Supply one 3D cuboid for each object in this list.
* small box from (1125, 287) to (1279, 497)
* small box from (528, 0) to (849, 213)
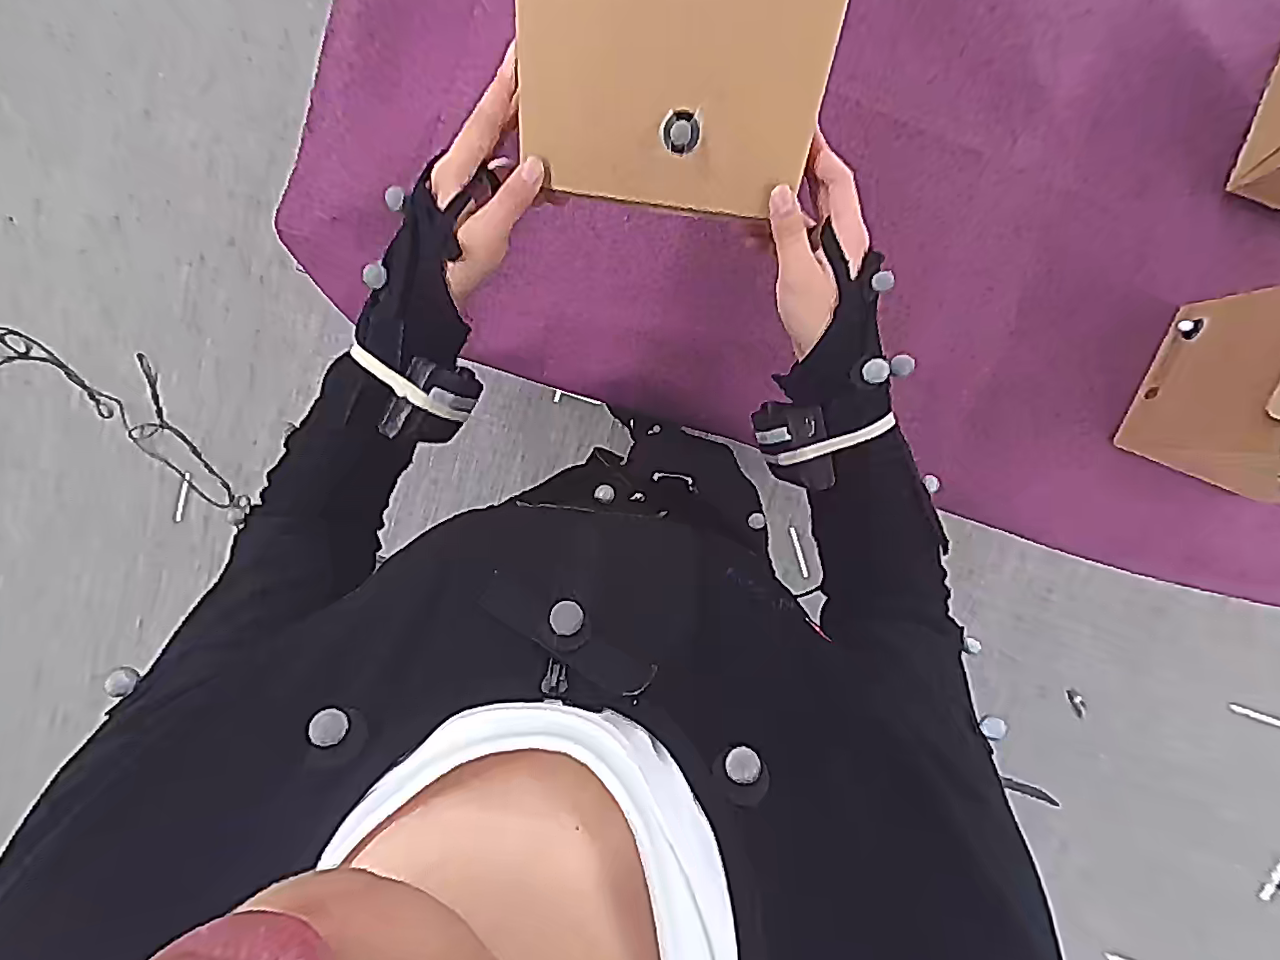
[{"bbox_3d":[0.639,-0.077,0.518,0.179,0.176,0.168,21,98,-1],"label":"small box"},{"bbox_3d":[0.027,-0.291,0.348,0.179,0.168,0.176,7,127,-2],"label":"small box"}]
